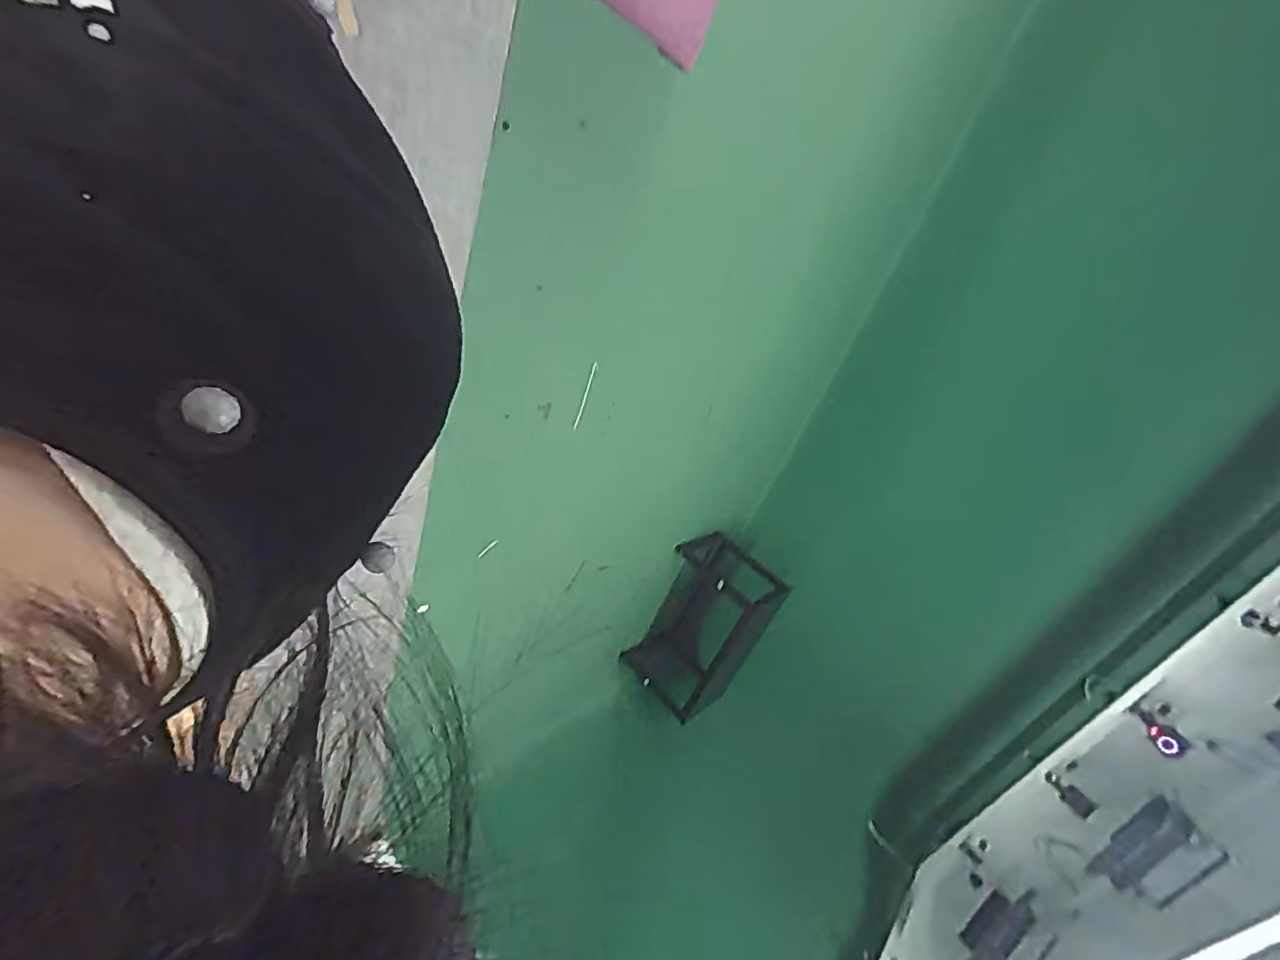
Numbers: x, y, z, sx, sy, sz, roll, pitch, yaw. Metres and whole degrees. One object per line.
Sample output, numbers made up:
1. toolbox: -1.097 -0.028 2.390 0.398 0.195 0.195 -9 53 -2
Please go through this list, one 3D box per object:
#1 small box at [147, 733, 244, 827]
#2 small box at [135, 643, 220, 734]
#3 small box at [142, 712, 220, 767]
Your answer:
1. small box: -1.388 0.923 1.686 0.168 0.176 0.179 -57 150 12
2. small box: -1.408 0.619 1.641 0.168 0.176 0.179 -6 129 -51
3. small box: -1.500 0.834 1.766 0.168 0.176 0.179 -11 134 -48
